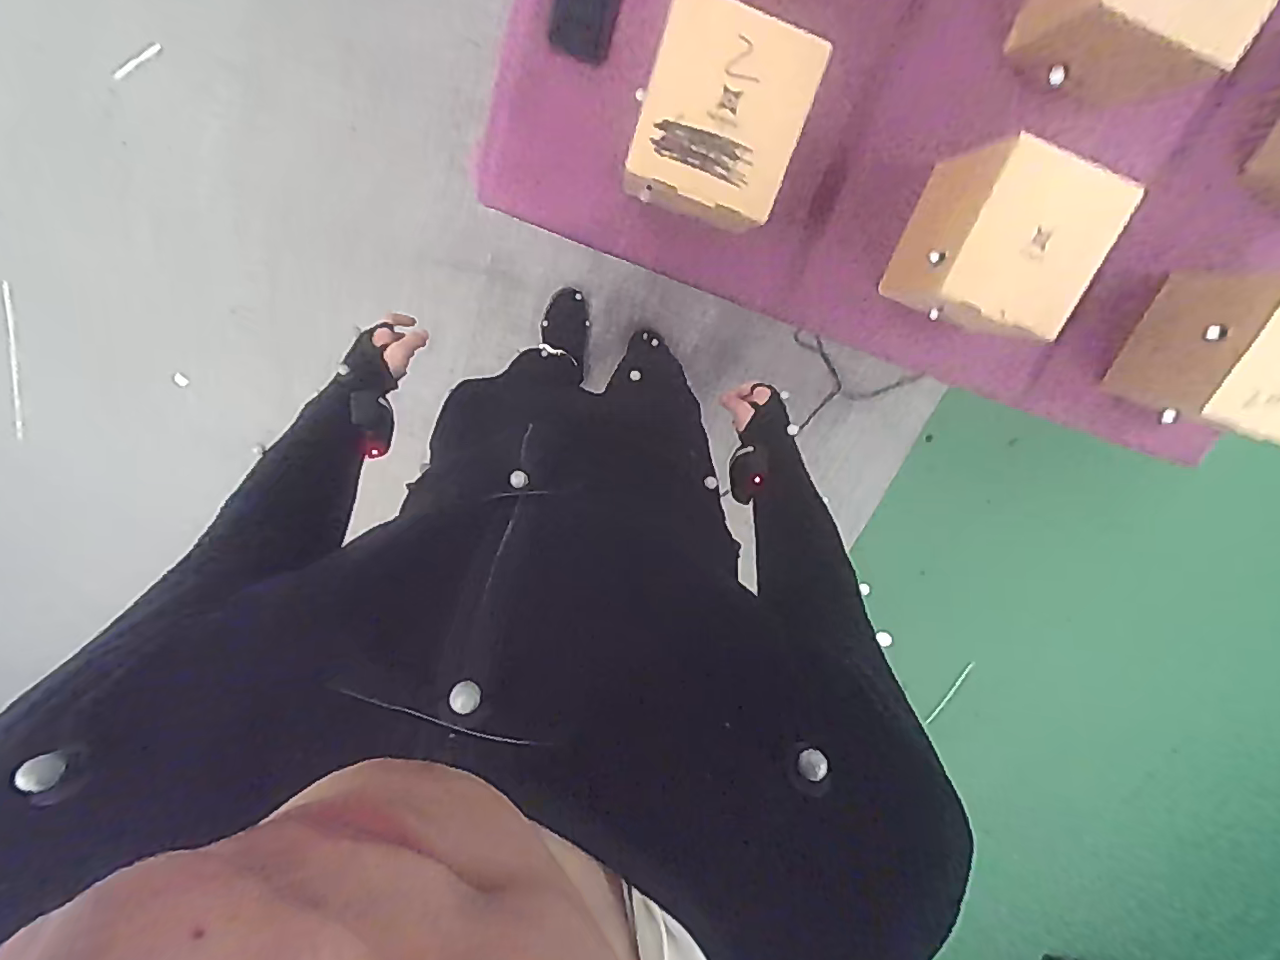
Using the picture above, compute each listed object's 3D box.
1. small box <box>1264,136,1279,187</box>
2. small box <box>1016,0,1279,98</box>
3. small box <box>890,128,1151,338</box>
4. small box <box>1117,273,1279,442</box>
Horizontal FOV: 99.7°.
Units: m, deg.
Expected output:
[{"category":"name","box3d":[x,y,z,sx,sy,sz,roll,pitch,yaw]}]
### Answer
[{"category":"small box","box3d":[0.923,-0.426,0.627,0.168,0.176,0.179,20,111,-8]},{"category":"small box","box3d":[0.557,-0.552,0.575,0.168,0.176,0.179,19,112,-7]},{"category":"small box","box3d":[0.451,-0.299,0.679,0.168,0.176,0.179,18,111,-8]},{"category":"small box","box3d":[0.818,-0.169,0.731,0.168,0.176,0.179,18,112,-6]}]
